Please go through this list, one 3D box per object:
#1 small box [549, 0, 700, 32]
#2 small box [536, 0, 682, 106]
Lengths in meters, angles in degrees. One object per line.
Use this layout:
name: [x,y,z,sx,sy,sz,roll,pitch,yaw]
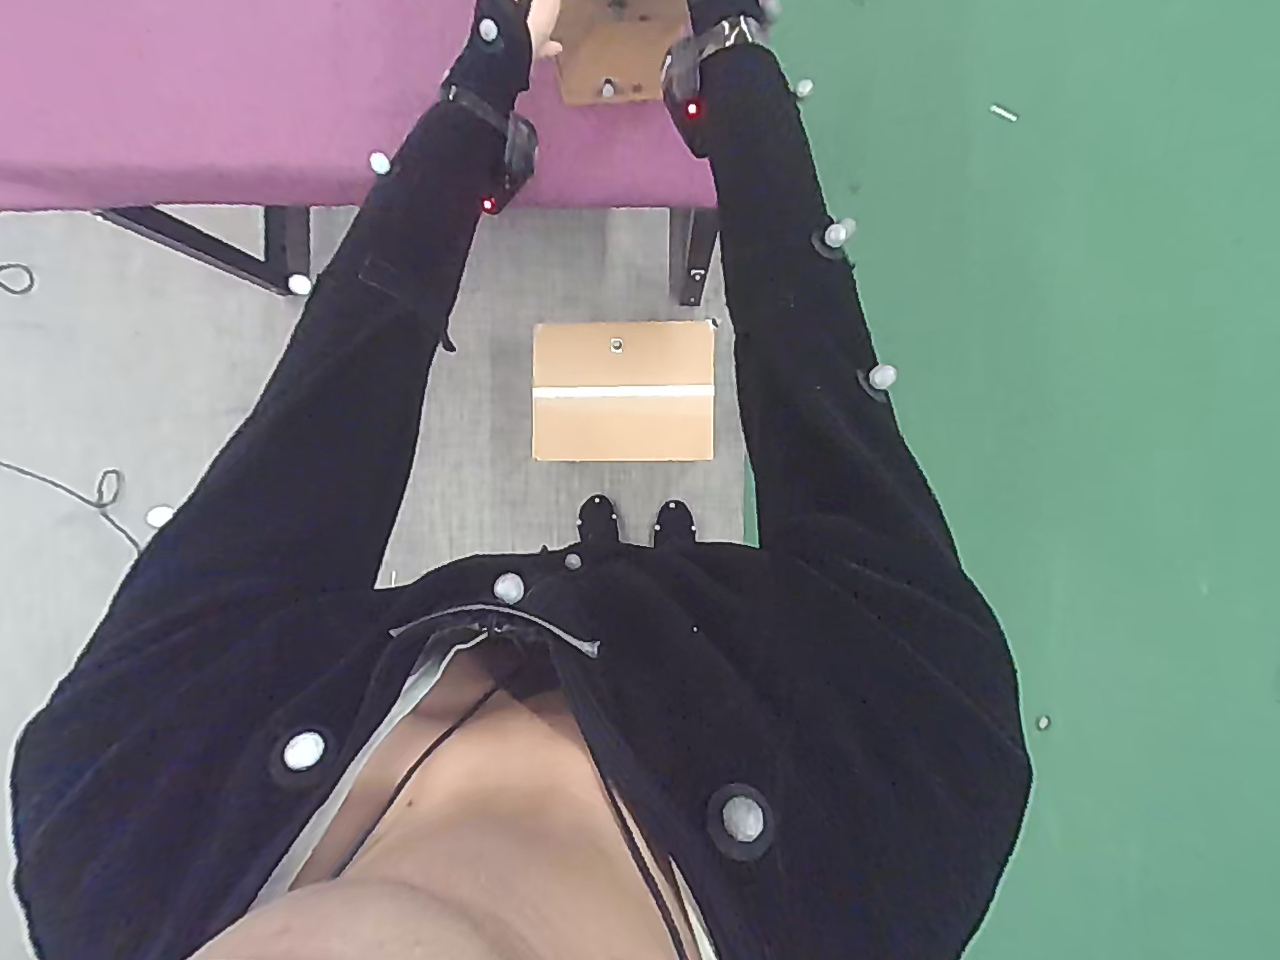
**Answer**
small box: [-0.022,-0.564,0.501,0.168,0.176,0.179,-1,105,3]
small box: [-0.032,-0.611,0.674,0.168,0.176,0.179,-2,92,4]
